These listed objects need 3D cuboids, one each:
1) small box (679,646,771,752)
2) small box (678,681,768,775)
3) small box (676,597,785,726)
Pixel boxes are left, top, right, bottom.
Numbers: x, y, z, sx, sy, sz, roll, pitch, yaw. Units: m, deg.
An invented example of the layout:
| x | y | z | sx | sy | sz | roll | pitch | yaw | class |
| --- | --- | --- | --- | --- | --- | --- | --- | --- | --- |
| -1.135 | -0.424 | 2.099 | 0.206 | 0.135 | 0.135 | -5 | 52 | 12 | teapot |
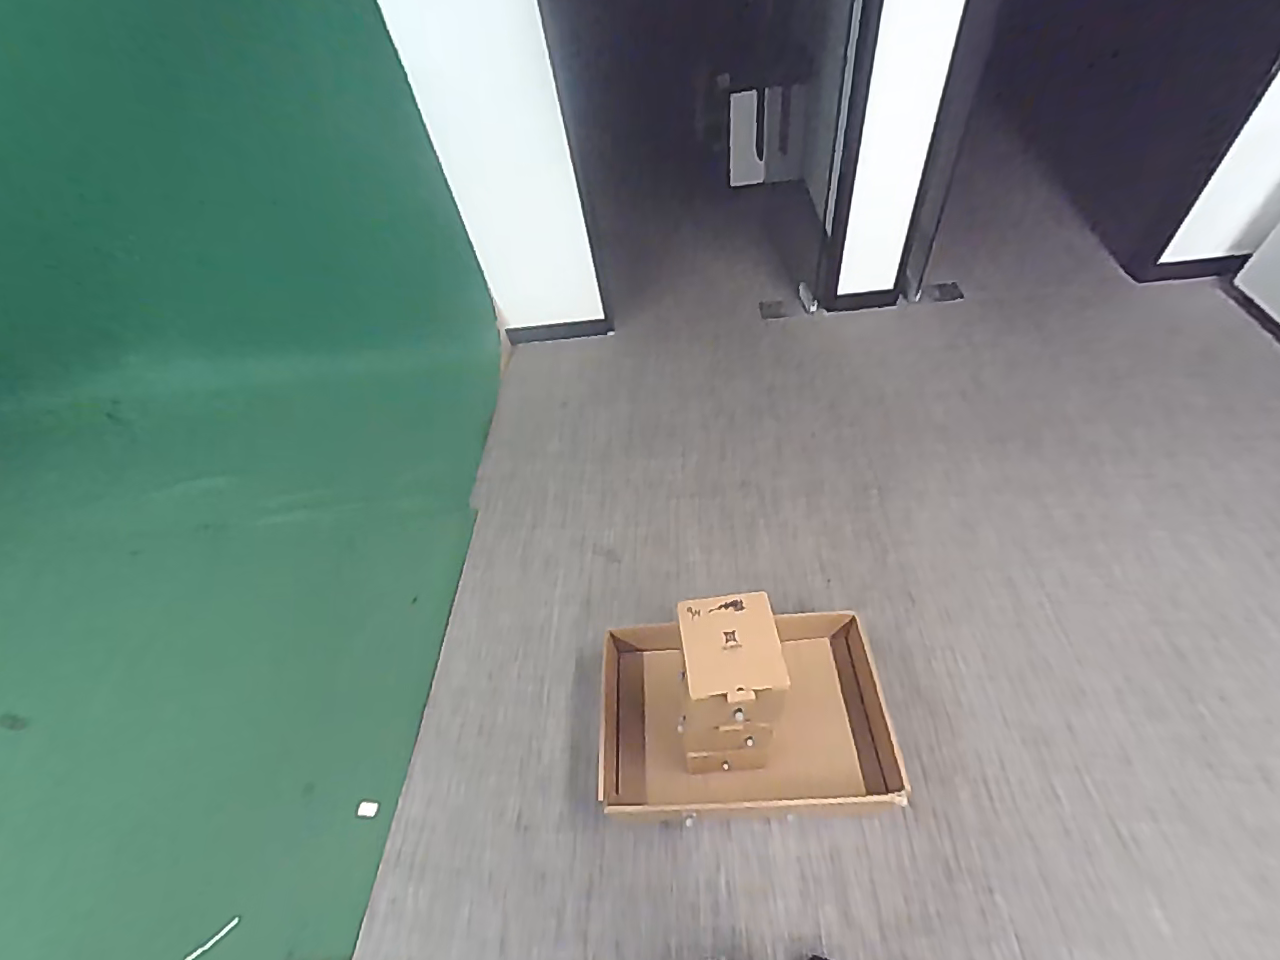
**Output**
| x | y | z | sx | sy | sz | roll | pitch | yaw | class |
| --- | --- | --- | --- | --- | --- | --- | --- | --- | --- |
| 0.168 | 0.444 | 1.101 | 0.168 | 0.176 | 0.179 | -4 | 48 | 3 | small box |
| 0.183 | 0.554 | 1.217 | 0.179 | 0.176 | 0.168 | -7 | 49 | 5 | small box |
| 0.158 | 0.334 | 0.980 | 0.168 | 0.176 | 0.179 | -6 | 50 | 2 | small box |
